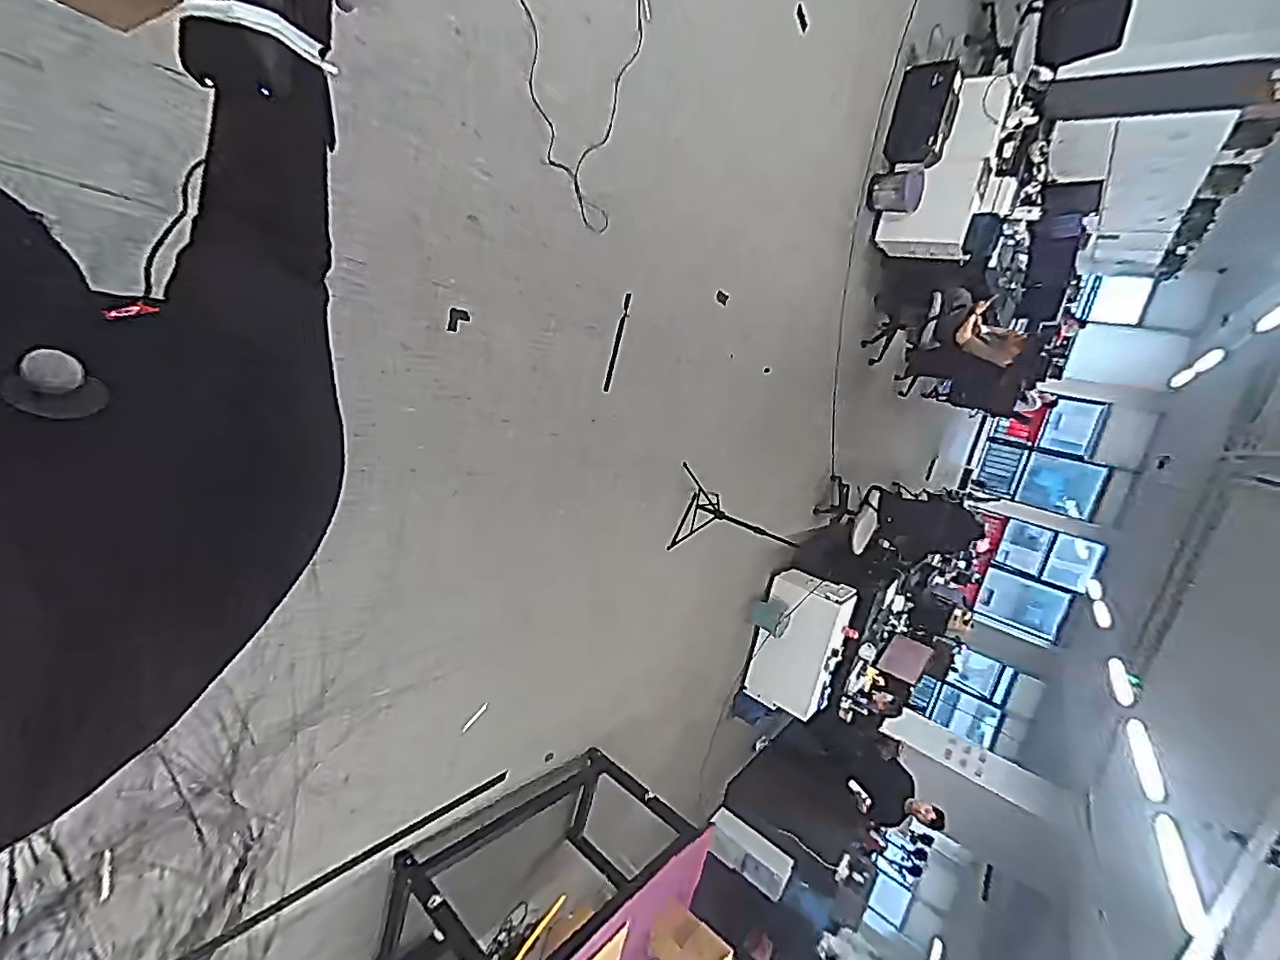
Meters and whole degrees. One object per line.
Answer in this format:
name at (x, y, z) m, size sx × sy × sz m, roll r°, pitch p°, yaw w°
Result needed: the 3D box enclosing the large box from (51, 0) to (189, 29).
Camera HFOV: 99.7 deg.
large box at (-0.460, -0.512, 0.245) m, size 0.408 × 0.320 × 0.320 m, roll -3°, pitch 114°, yaw -54°
